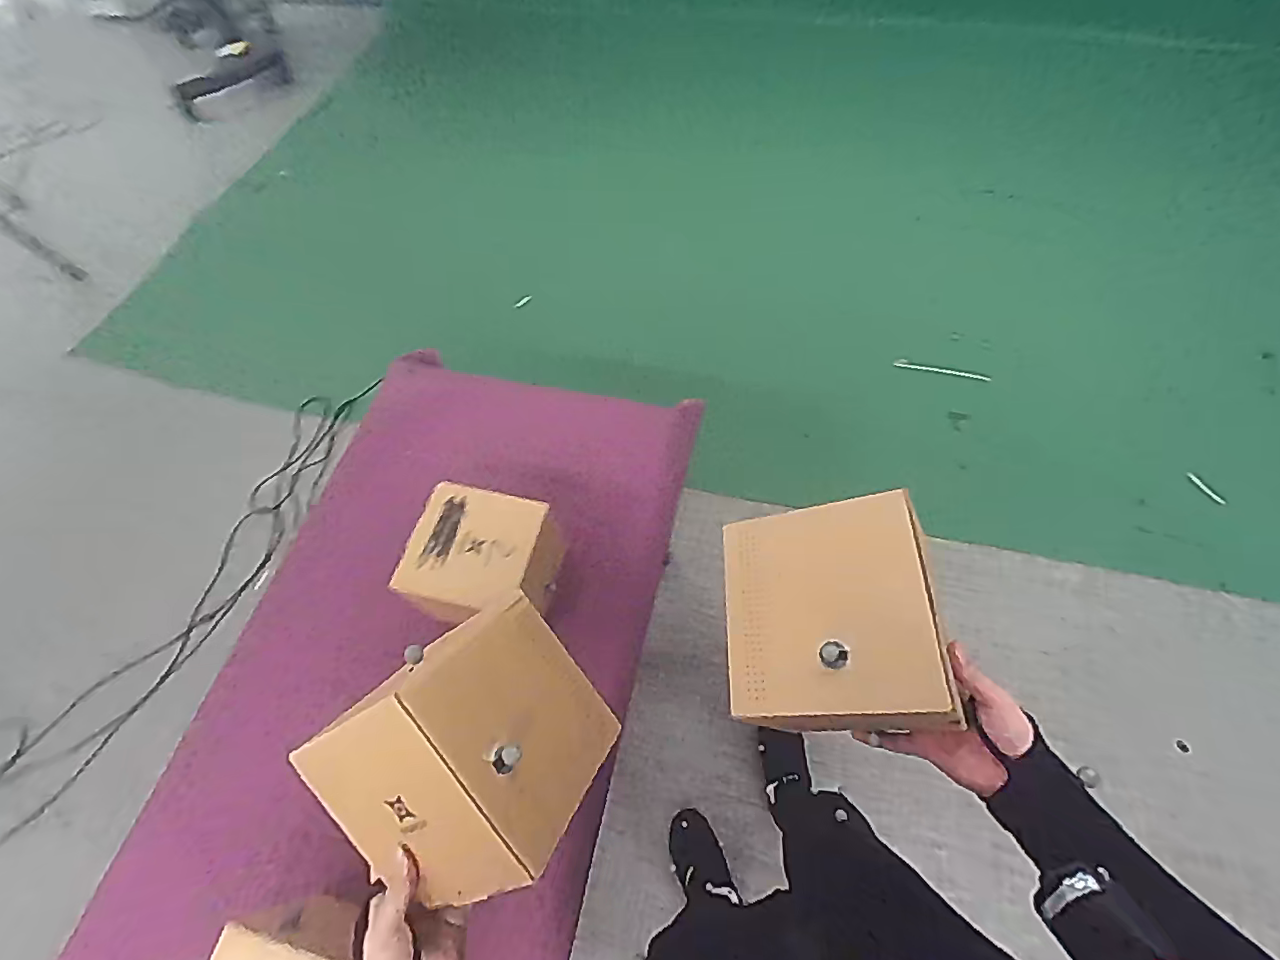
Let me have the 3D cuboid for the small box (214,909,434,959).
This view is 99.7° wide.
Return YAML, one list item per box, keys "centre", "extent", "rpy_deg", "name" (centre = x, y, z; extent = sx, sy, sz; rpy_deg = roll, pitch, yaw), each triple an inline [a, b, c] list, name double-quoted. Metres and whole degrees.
- centre: [-0.358, 0.591, 0.577]
  extent: [0.179, 0.176, 0.168]
  rpy_deg: [10, 62, 10]
  name: "small box"
